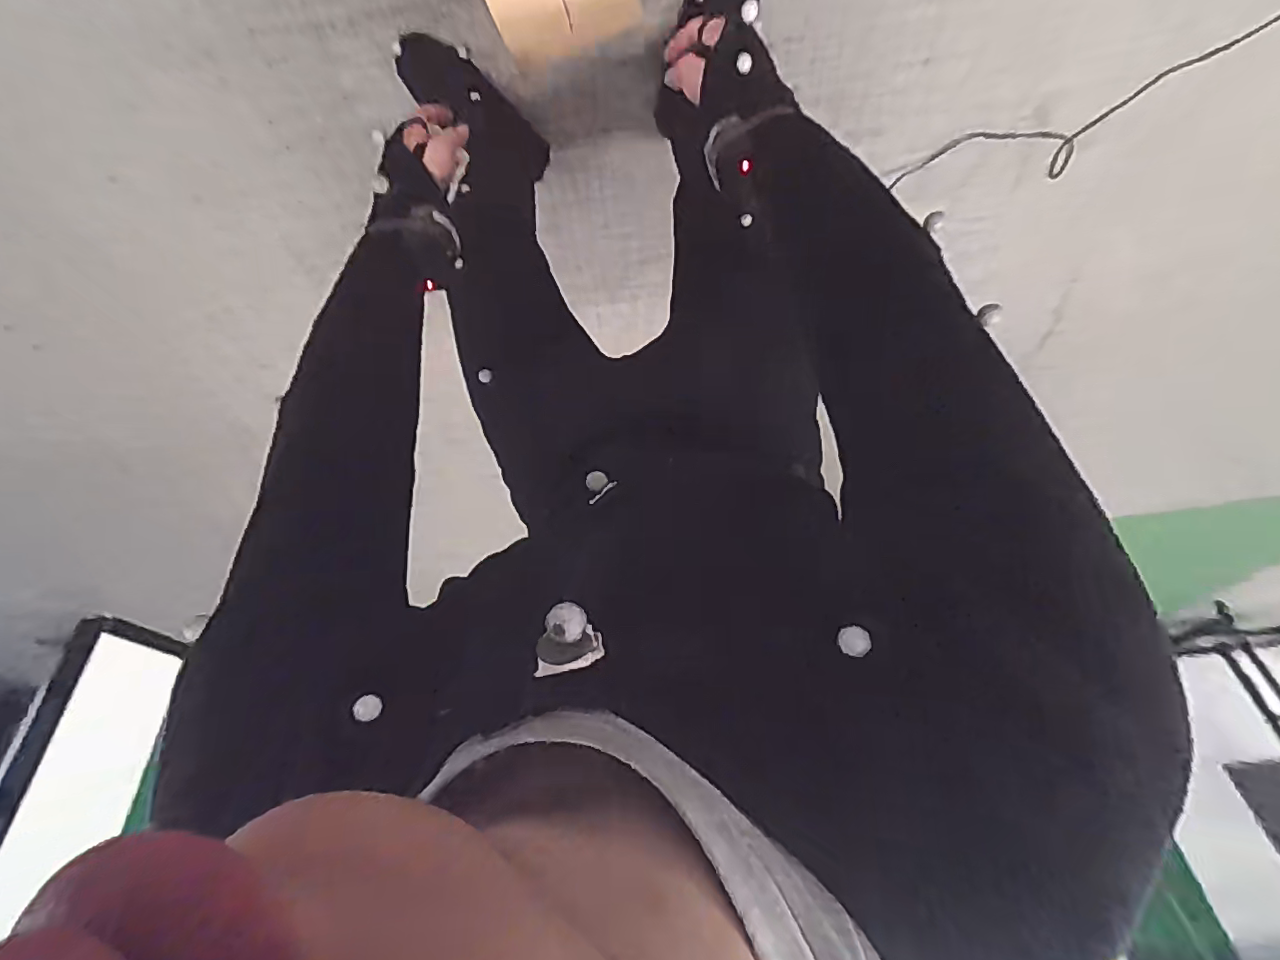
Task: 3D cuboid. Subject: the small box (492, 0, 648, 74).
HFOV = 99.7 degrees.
[{"bbox_3d":[-0.101,-0.629,0.626,0.168,0.176,0.179,-15,146,14],"label":"small box"}]
